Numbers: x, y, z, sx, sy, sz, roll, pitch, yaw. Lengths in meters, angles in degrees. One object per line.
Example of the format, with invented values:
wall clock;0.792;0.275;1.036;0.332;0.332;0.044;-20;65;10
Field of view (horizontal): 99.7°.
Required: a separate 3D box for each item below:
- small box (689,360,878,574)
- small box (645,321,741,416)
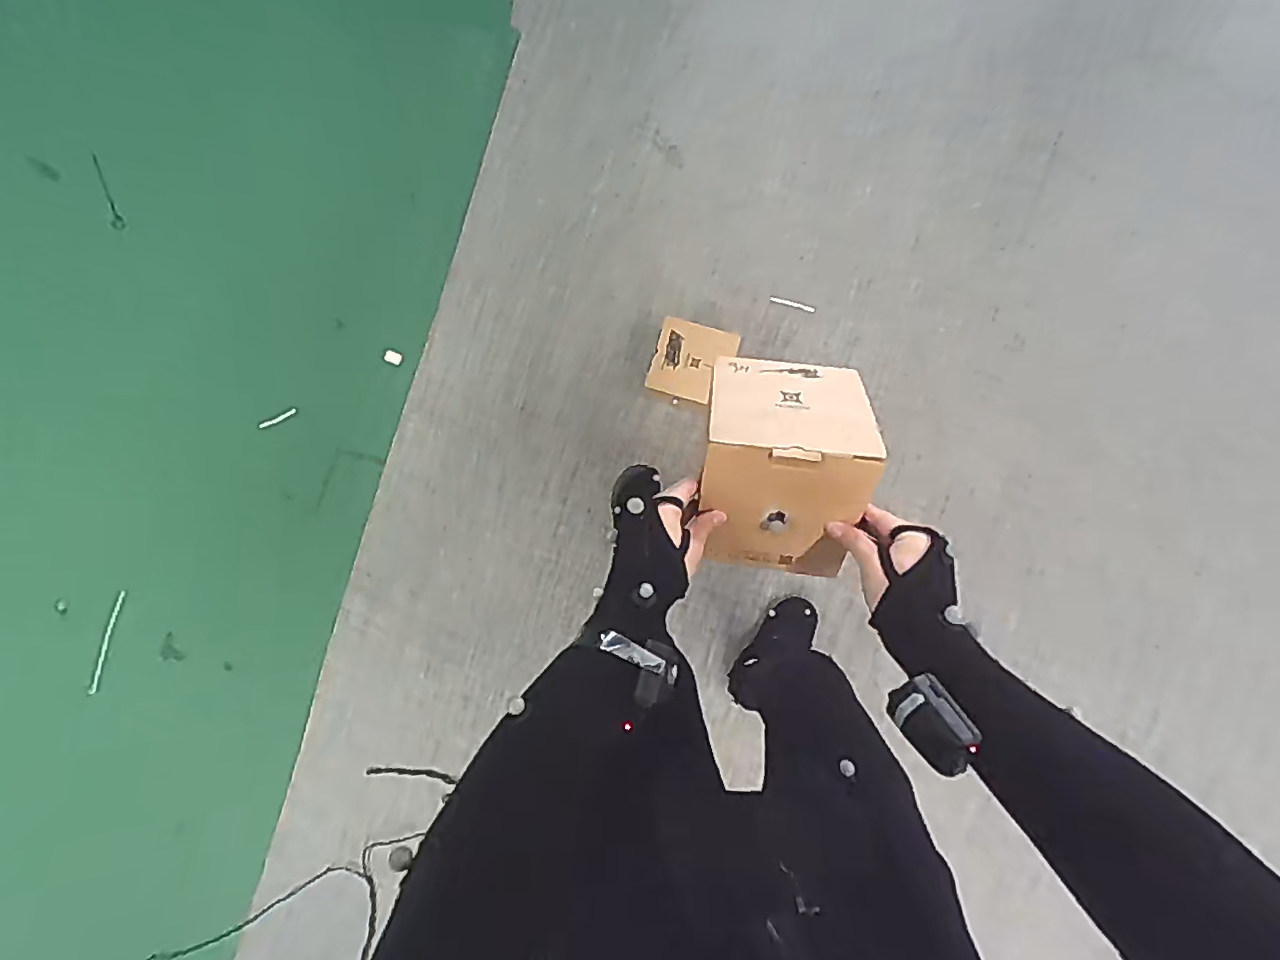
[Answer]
small box;0.149;-0.015;0.615;0.168;0.179;0.176;7;131;5
small box;0.124;-0.249;1.261;0.179;0.176;0.168;17;92;6
